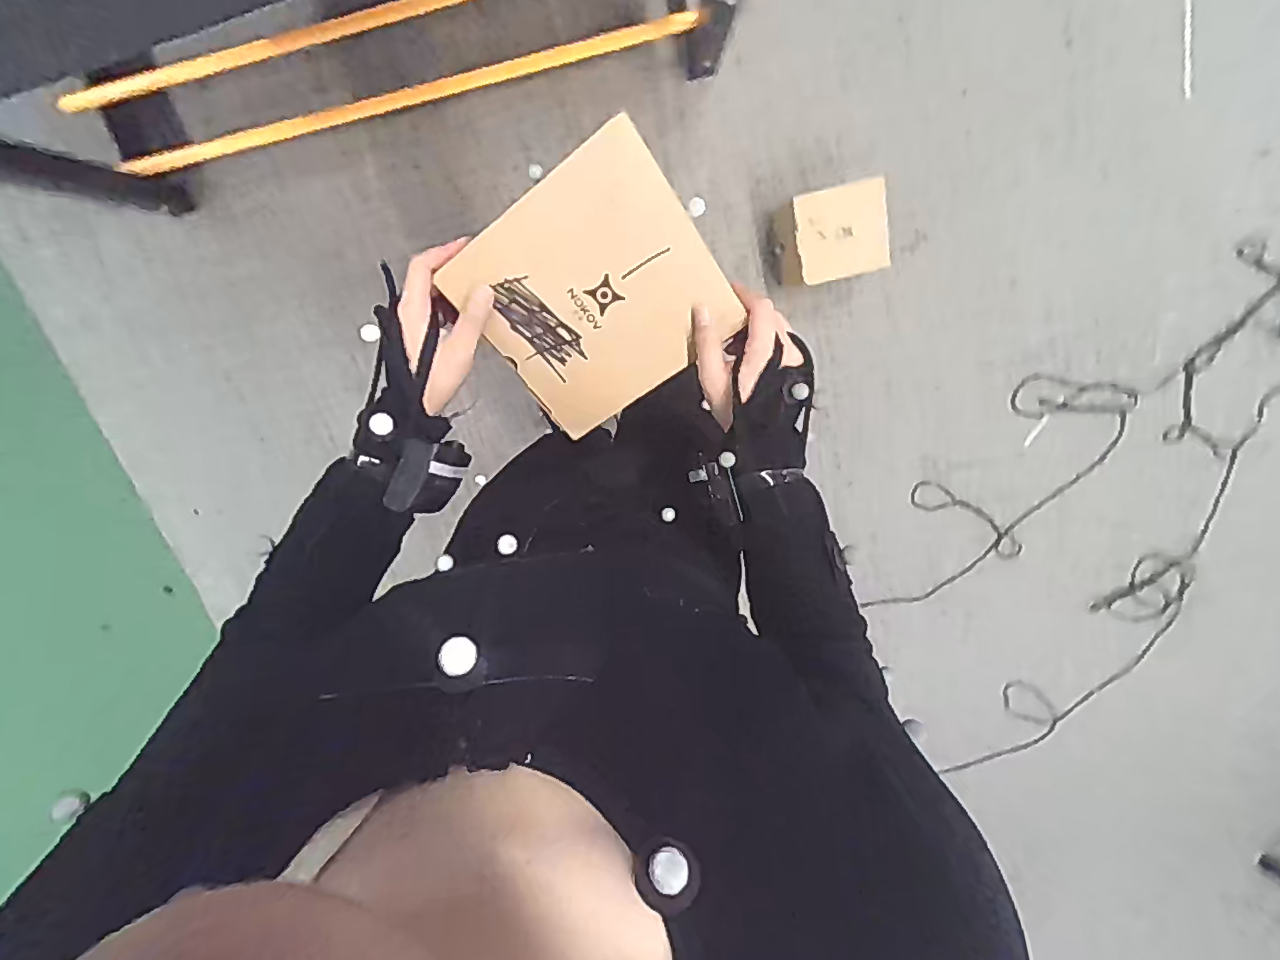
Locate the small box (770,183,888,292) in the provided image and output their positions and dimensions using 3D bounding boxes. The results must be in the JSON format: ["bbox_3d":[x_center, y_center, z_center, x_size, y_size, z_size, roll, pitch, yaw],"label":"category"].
[{"bbox_3d":[0.385,-0.493,1.120,0.179,0.176,0.168,-13,106,3],"label":"small box"}]
